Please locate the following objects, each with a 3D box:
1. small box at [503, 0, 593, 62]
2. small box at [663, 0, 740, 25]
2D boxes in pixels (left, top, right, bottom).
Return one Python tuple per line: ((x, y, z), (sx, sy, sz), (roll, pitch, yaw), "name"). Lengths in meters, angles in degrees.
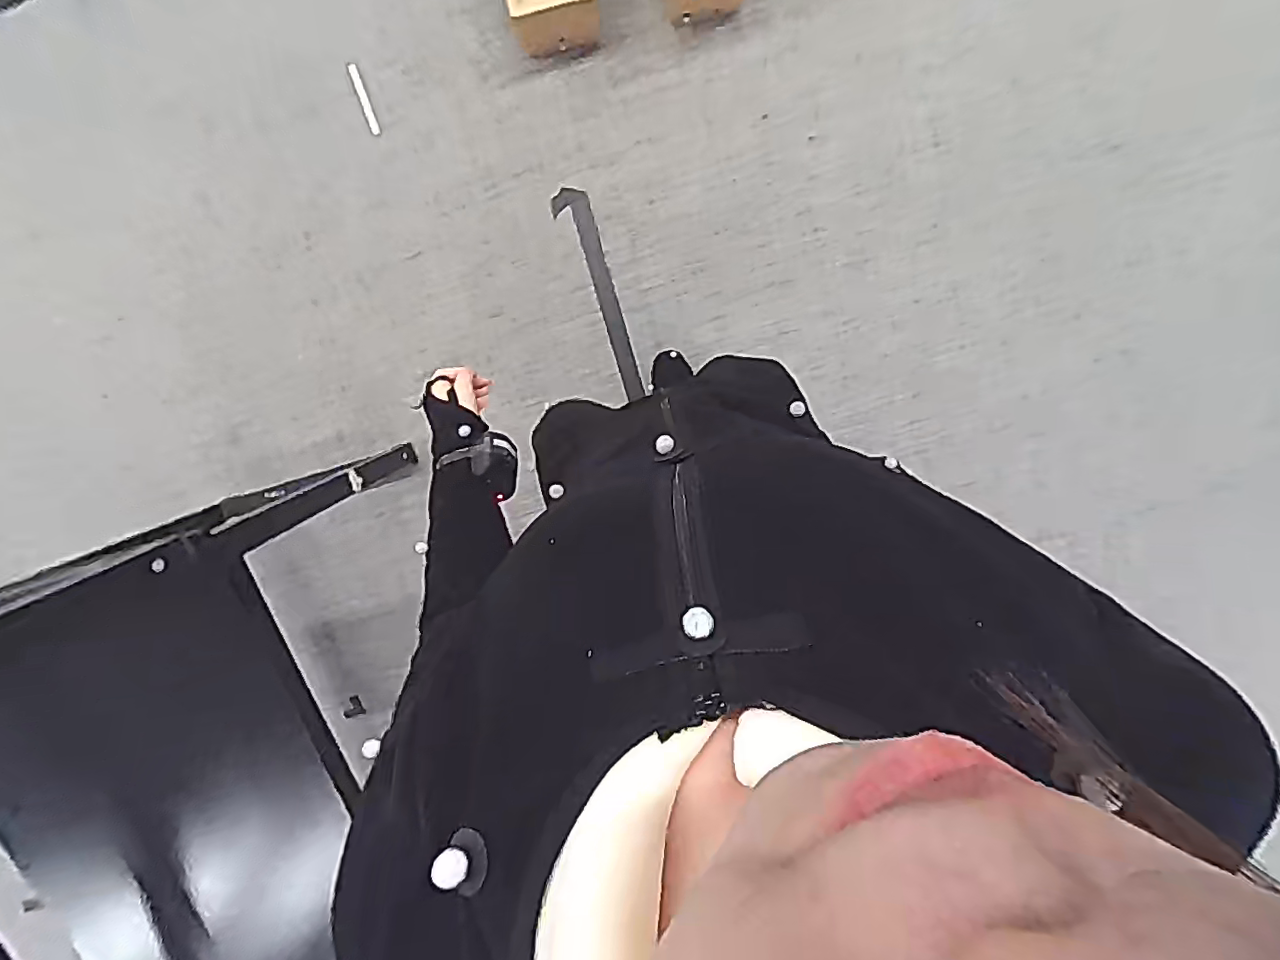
((-0.198, -1.030, 1.142), (0.179, 0.176, 0.168), (-12, 104, 2), "small box")
((0.127, -1.097, 1.127), (0.168, 0.176, 0.179), (-11, 103, 2), "small box")
